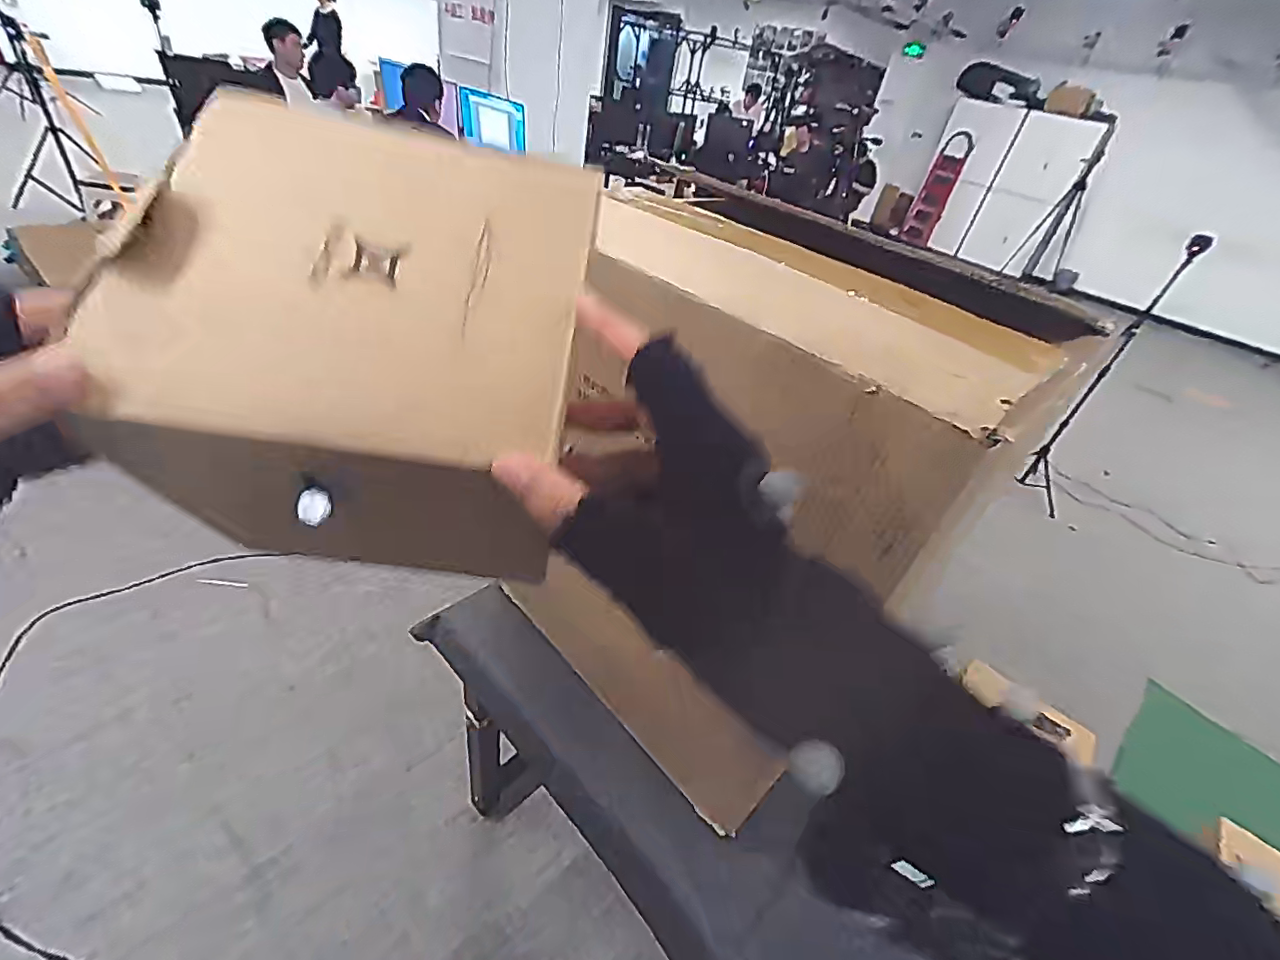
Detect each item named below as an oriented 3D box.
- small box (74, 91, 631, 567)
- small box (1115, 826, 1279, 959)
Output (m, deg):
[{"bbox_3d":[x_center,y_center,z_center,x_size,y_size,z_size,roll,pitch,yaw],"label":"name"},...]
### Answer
[{"bbox_3d":[-0.110,-0.059,0.293,0.179,0.176,0.168,9,65,-7],"label":"small box"},{"bbox_3d":[0.706,0.555,0.617,0.179,0.176,0.168,36,42,30],"label":"small box"}]
